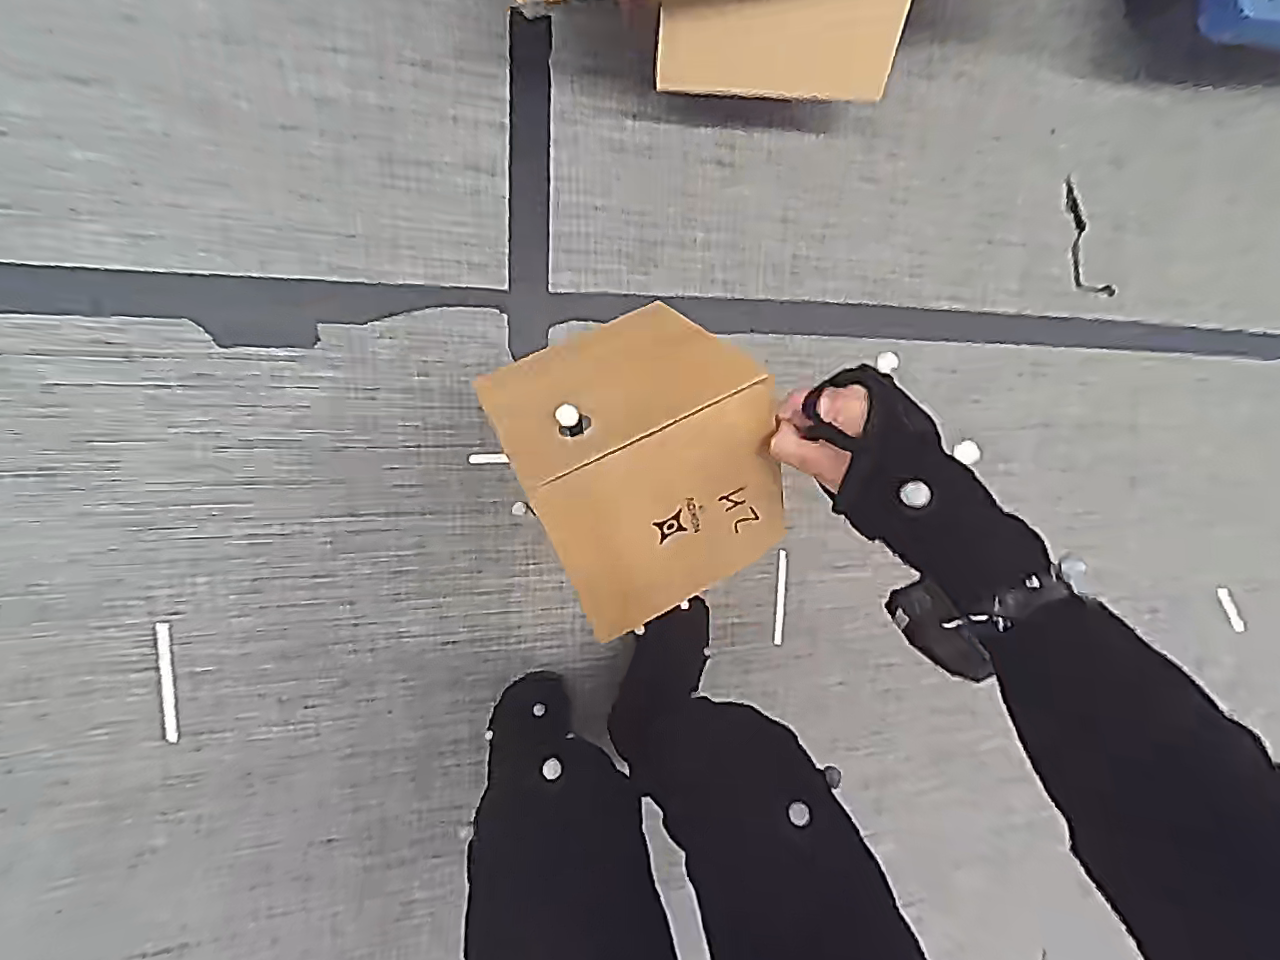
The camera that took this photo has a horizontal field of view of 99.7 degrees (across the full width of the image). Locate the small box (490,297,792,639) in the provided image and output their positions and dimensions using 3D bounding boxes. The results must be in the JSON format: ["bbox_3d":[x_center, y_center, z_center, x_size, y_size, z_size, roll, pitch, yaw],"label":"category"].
[{"bbox_3d":[-0.003,-0.018,0.424,0.179,0.176,0.168,-26,133,-11],"label":"small box"}]
